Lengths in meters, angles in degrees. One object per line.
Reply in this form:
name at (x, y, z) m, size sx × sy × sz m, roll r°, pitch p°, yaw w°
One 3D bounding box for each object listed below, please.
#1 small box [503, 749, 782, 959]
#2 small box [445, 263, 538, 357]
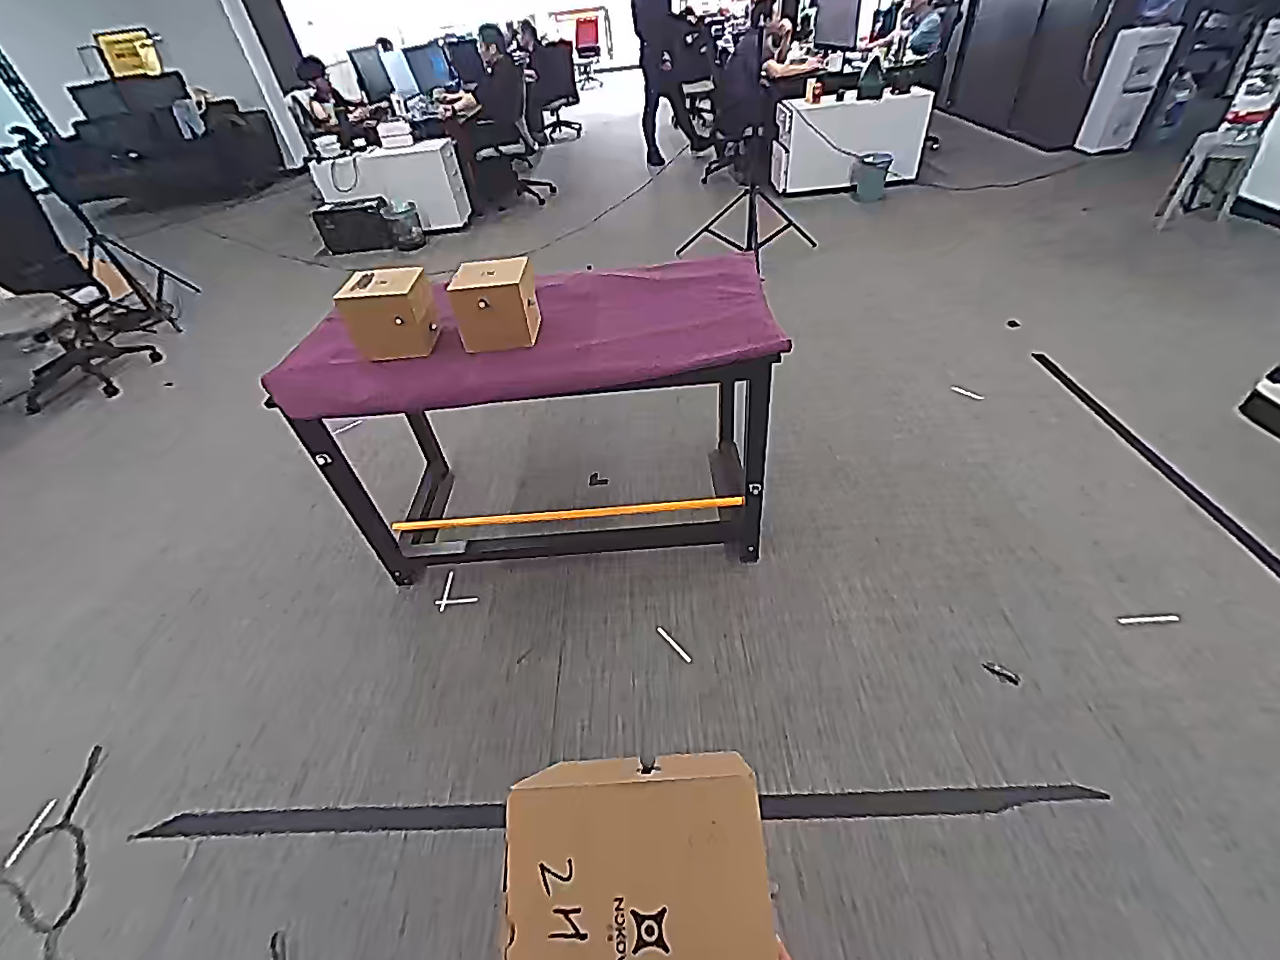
small box at (0.005, 0.309, 0.416) m, size 0.179 × 0.176 × 0.168 m, roll -6°, pitch 67°, yaw 4°
small box at (-0.363, -0.427, 1.362) m, size 0.179 × 0.176 × 0.168 m, roll -5°, pitch 41°, yaw 2°
